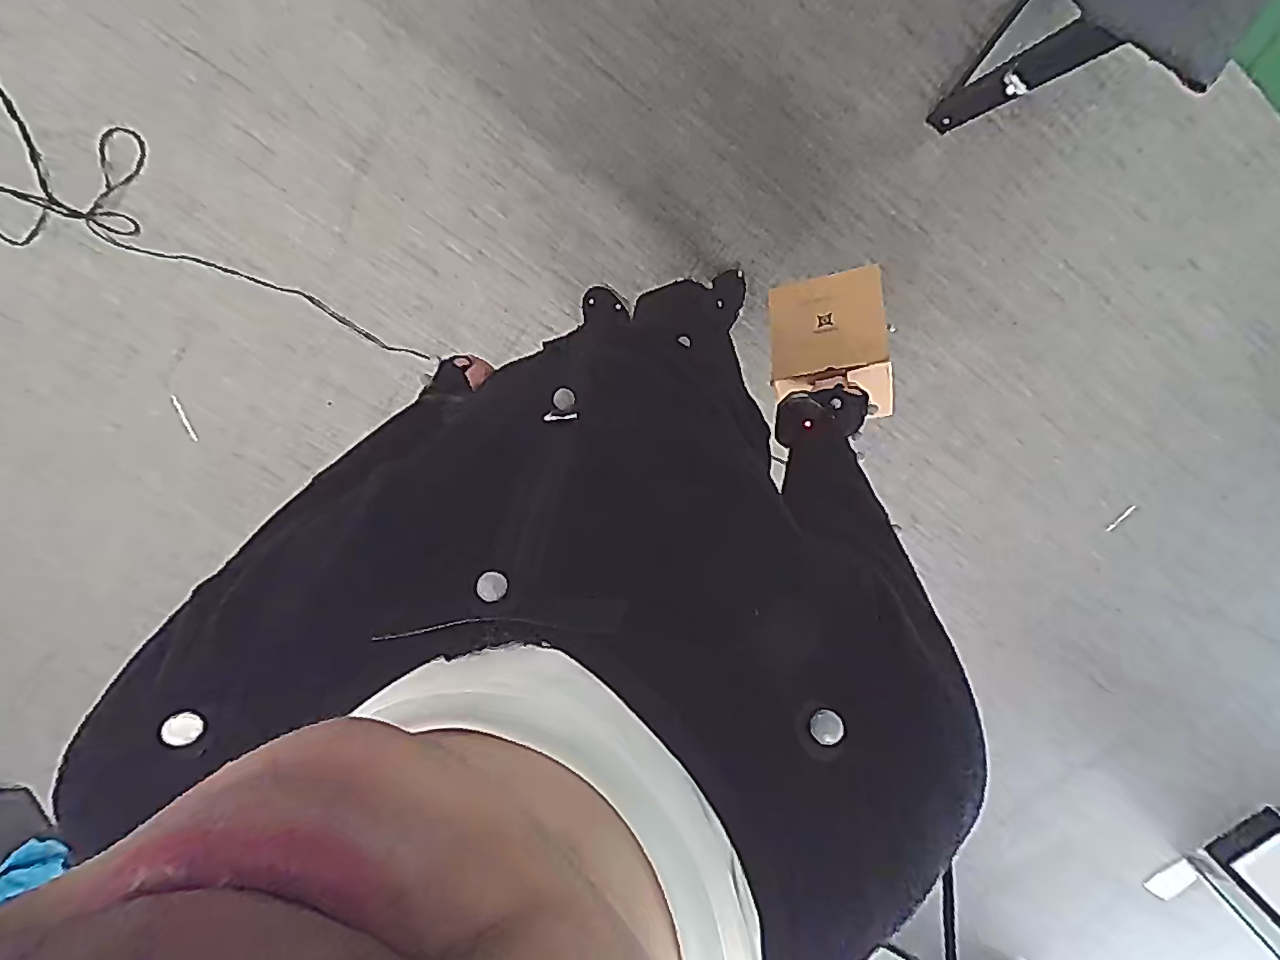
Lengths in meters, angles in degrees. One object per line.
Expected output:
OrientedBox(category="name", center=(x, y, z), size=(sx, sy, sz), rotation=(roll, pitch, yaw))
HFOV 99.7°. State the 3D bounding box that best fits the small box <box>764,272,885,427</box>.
OrientedBox(category="small box", center=(0.301, -0.198, 0.880), size=(0.168, 0.179, 0.176), rotation=(-6, 156, 20))
